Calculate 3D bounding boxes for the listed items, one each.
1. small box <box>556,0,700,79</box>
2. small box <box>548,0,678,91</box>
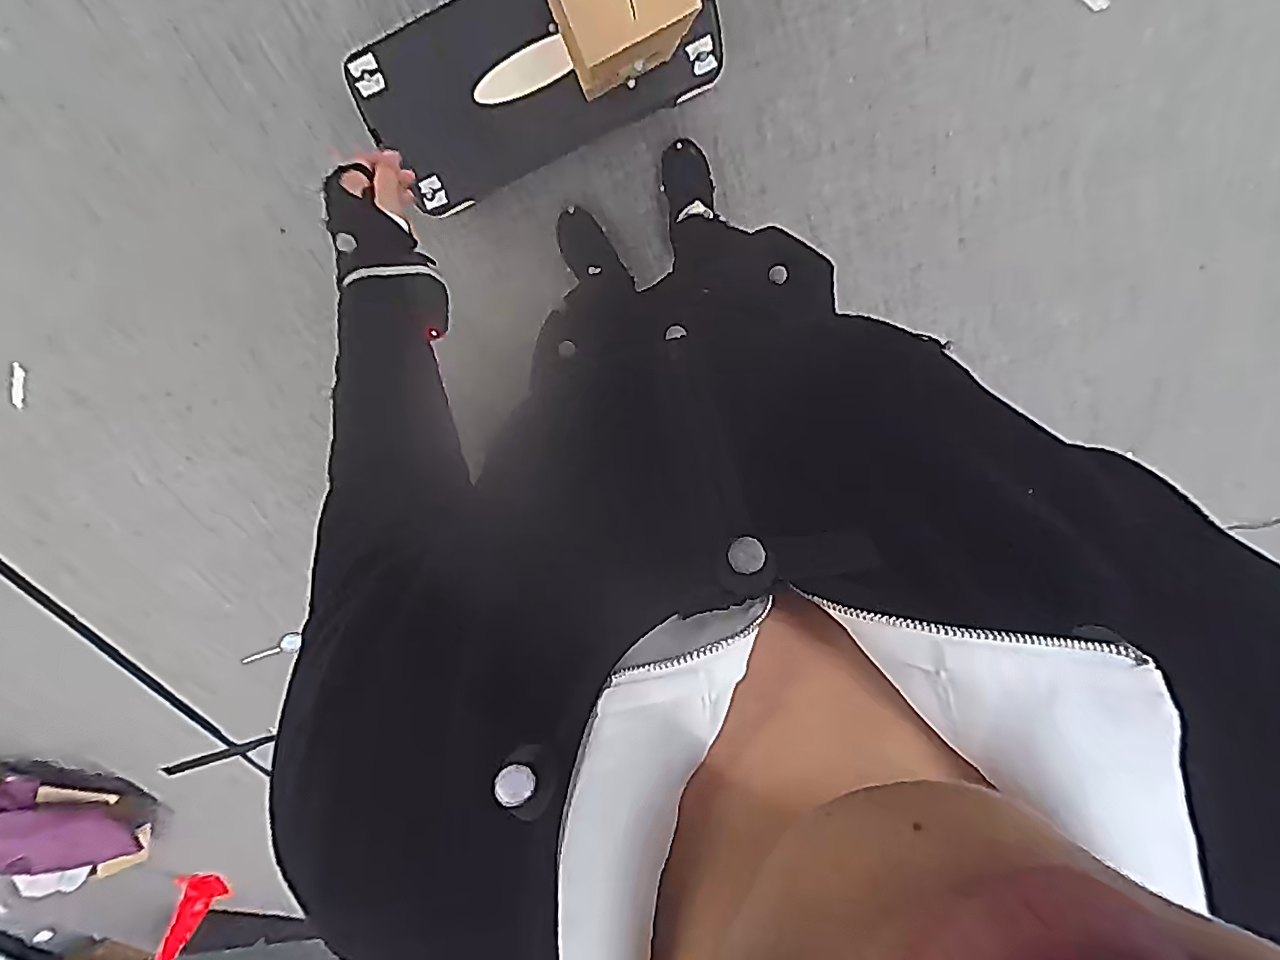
[{"bbox_3d":[-0.035,-0.685,0.730,0.168,0.176,0.179,-22,120,9],"label":"small box"},{"bbox_3d":[-0.053,-0.761,0.875,0.168,0.176,0.179,-22,120,9],"label":"small box"}]
